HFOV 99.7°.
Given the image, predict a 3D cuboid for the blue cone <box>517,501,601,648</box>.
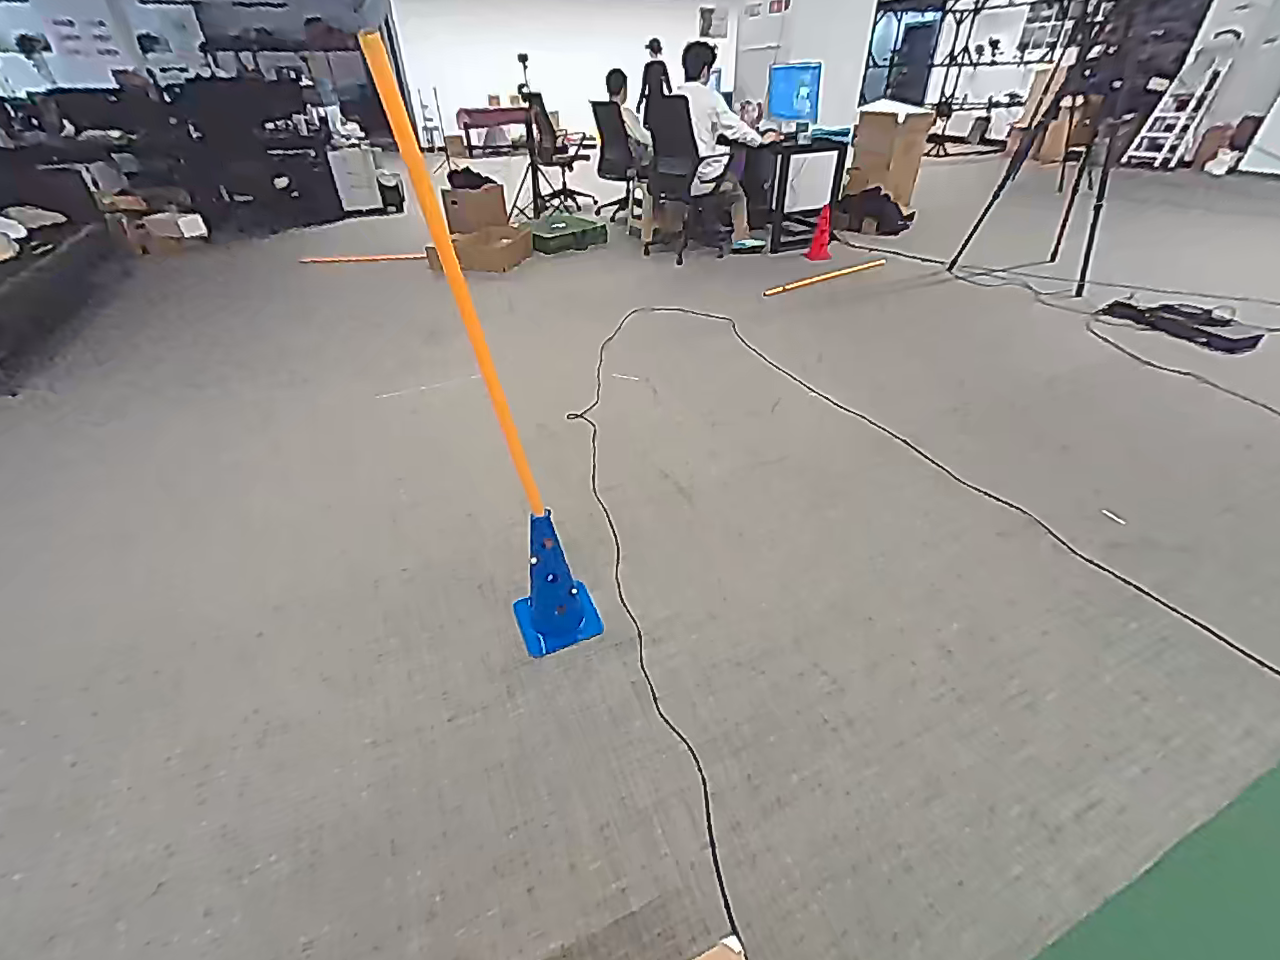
[{"bbox_3d":[-0.218,0.212,1.307,0.193,0.380,0.192,-19,40,-20],"label":"blue cone"}]
